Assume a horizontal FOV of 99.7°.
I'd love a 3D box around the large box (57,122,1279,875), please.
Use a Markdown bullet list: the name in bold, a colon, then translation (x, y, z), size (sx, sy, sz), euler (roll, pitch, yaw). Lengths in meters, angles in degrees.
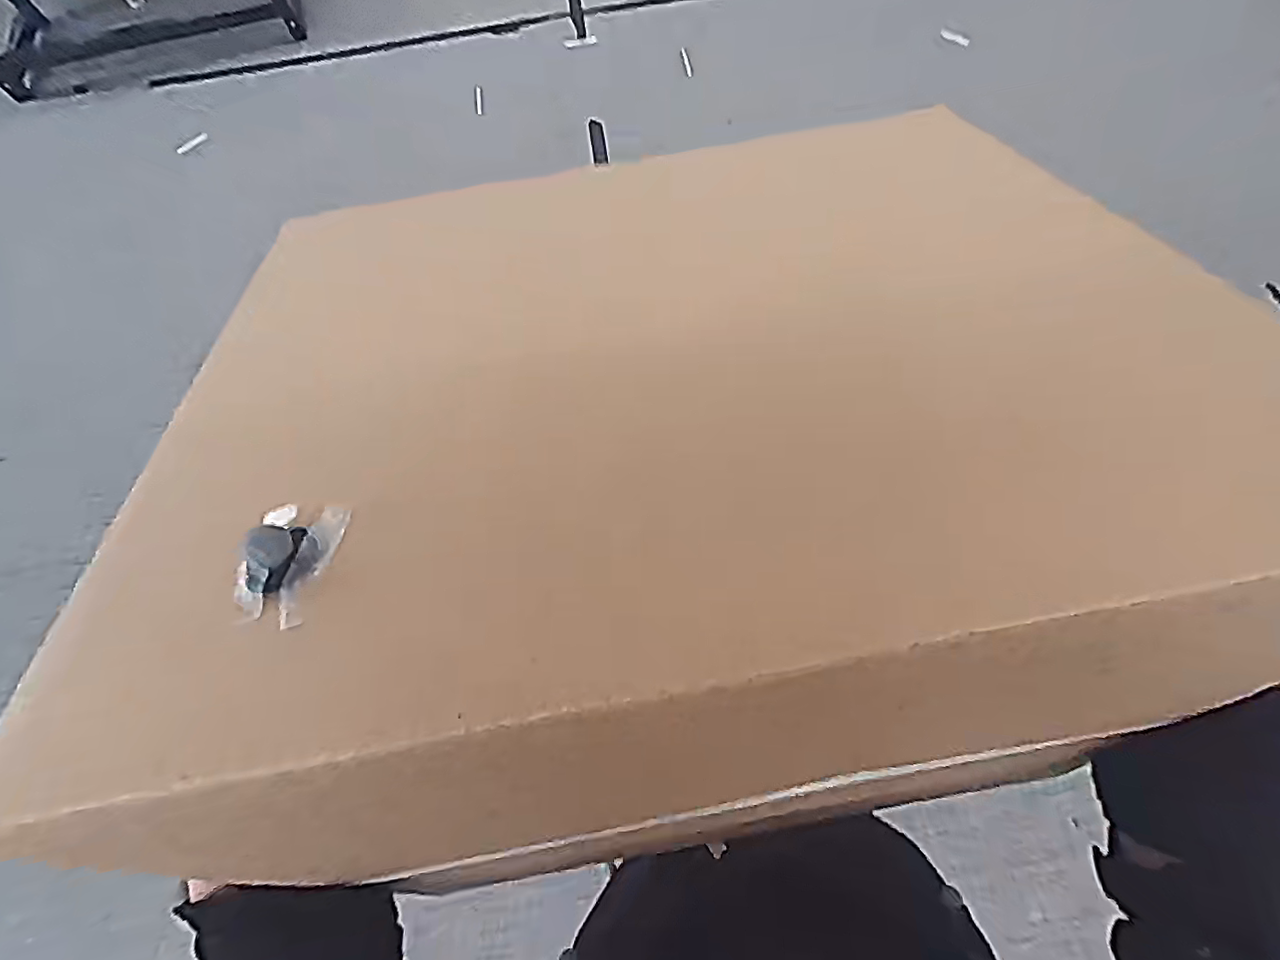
- **large box**: translation (0.032, 0.022, 0.349), size (0.408, 0.320, 0.320), euler (-10, 52, 0)
